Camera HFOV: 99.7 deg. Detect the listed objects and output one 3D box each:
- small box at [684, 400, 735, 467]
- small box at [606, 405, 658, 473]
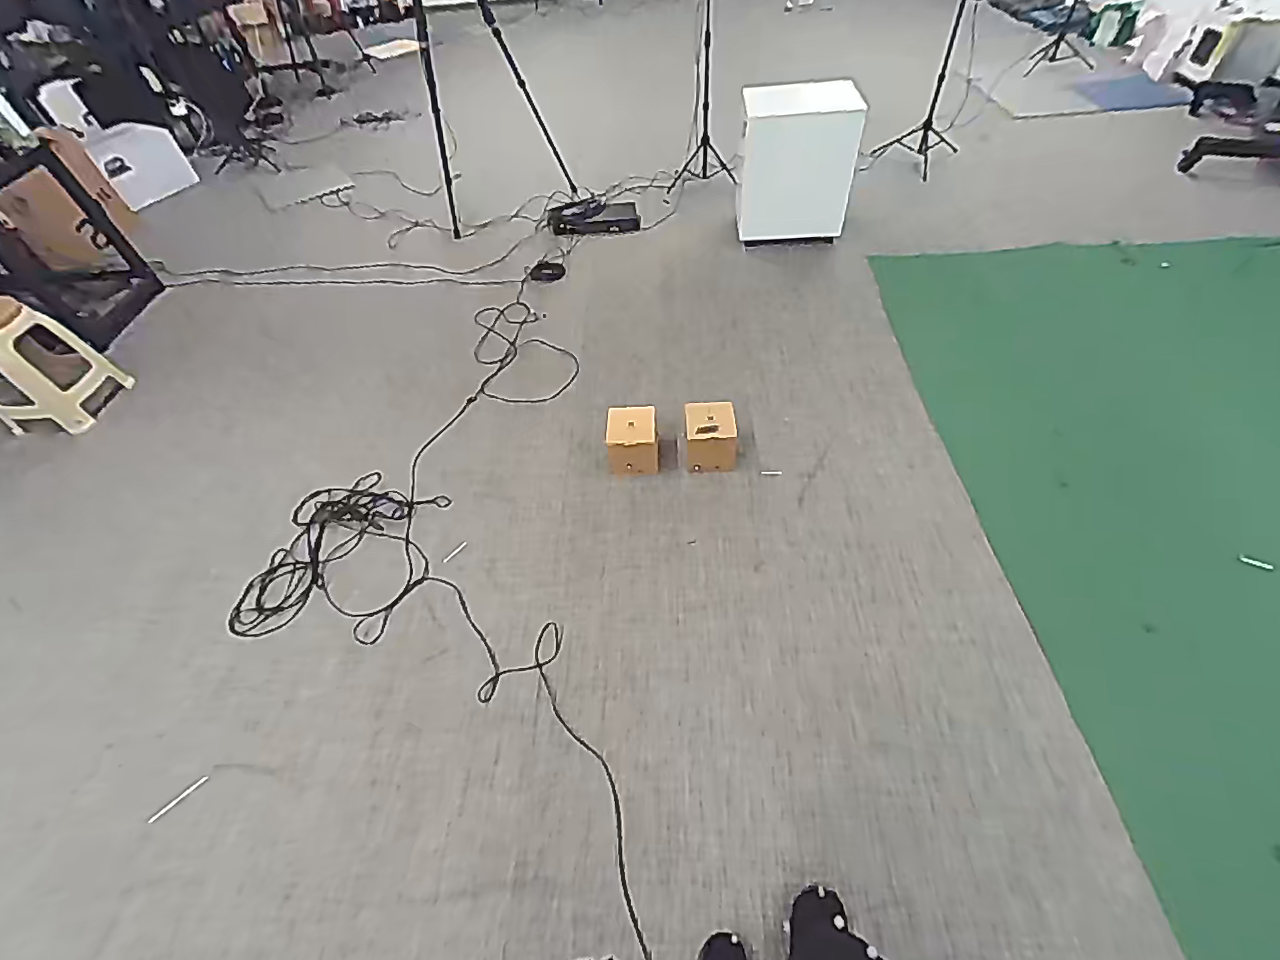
[{"bbox_3d":[0.242,-0.158,1.891,0.168,0.176,0.179,-2,50,4],"label":"small box"},{"bbox_3d":[-0.024,-0.145,1.908,0.168,0.176,0.179,-2,51,4],"label":"small box"}]
